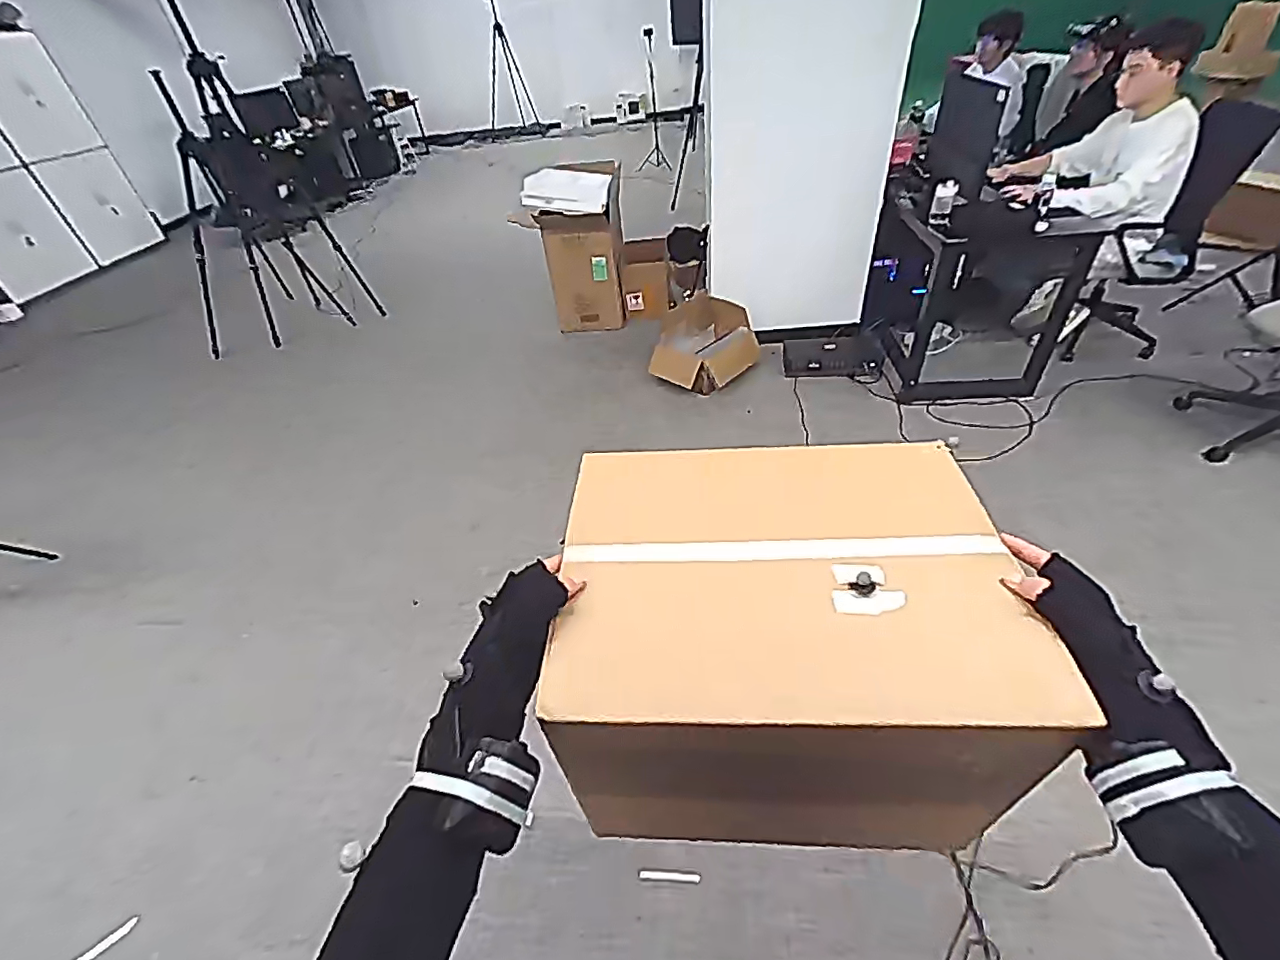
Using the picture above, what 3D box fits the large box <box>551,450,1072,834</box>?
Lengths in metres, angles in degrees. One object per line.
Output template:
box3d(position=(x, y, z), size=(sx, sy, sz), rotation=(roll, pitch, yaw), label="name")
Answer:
box3d(position=(0.141, 0.186, 0.622), size=(0.408, 0.320, 0.320), rotation=(-2, 43, 5), label="large box")
